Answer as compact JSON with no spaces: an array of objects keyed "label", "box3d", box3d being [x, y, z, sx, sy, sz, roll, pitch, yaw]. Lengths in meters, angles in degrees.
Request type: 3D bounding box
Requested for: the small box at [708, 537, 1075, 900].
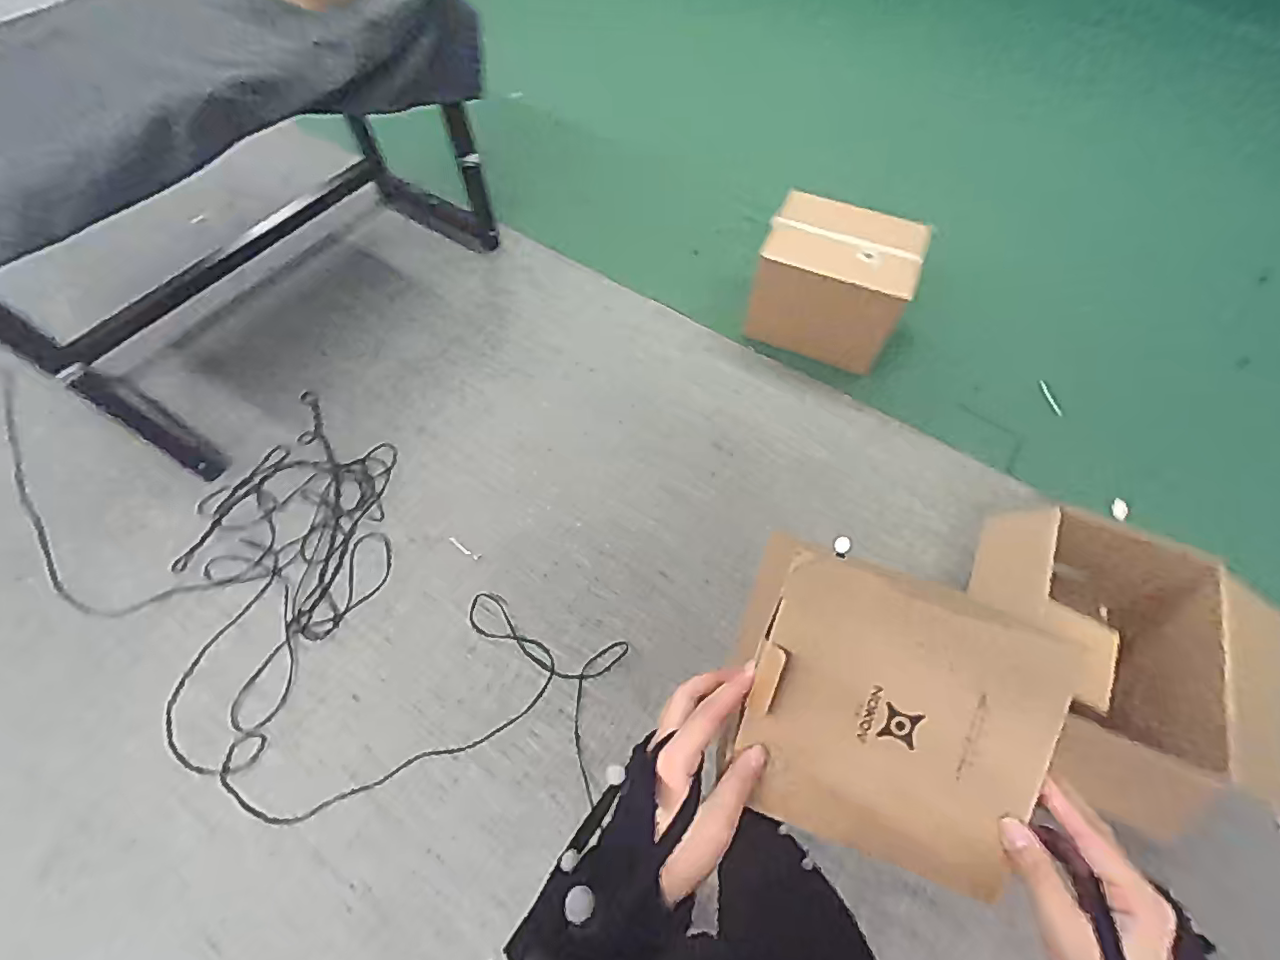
[{"label":"small box","box3d":[0.156,0.145,0.402,0.179,0.176,0.168,17,91,7]}]
